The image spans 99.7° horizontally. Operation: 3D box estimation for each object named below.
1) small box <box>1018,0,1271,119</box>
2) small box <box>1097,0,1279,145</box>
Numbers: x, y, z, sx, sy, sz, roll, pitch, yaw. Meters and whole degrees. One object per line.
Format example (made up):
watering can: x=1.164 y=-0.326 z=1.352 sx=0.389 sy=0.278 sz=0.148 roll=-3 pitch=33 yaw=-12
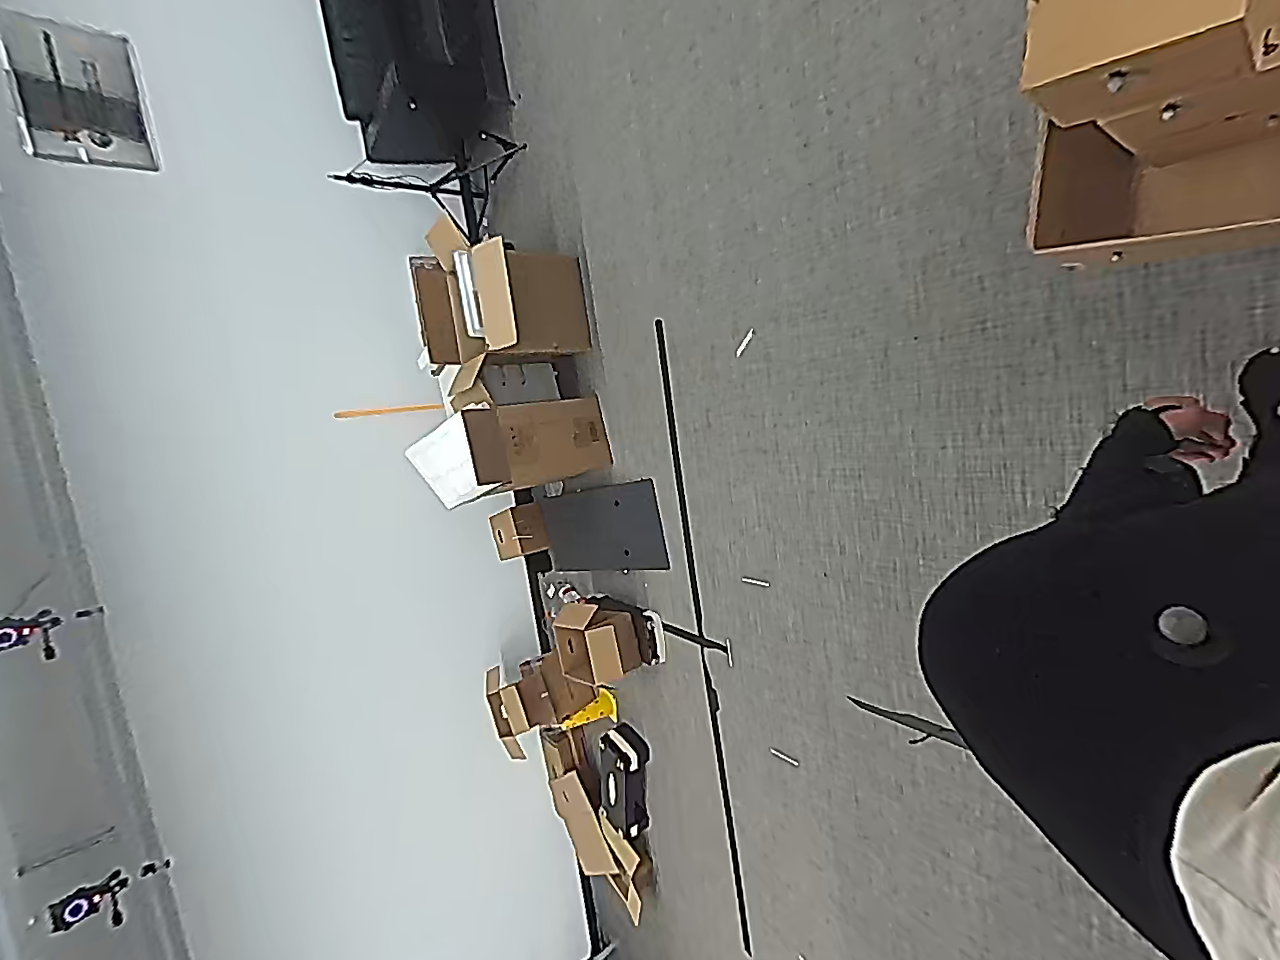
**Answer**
small box: x=0.536 y=-0.513 z=0.568 sx=0.179 sy=0.176 sz=0.168 roll=15 pitch=111 yaw=50
small box: x=0.680 y=-0.537 z=0.646 sx=0.168 sy=0.176 sz=0.179 roll=10 pitch=107 yaw=51
